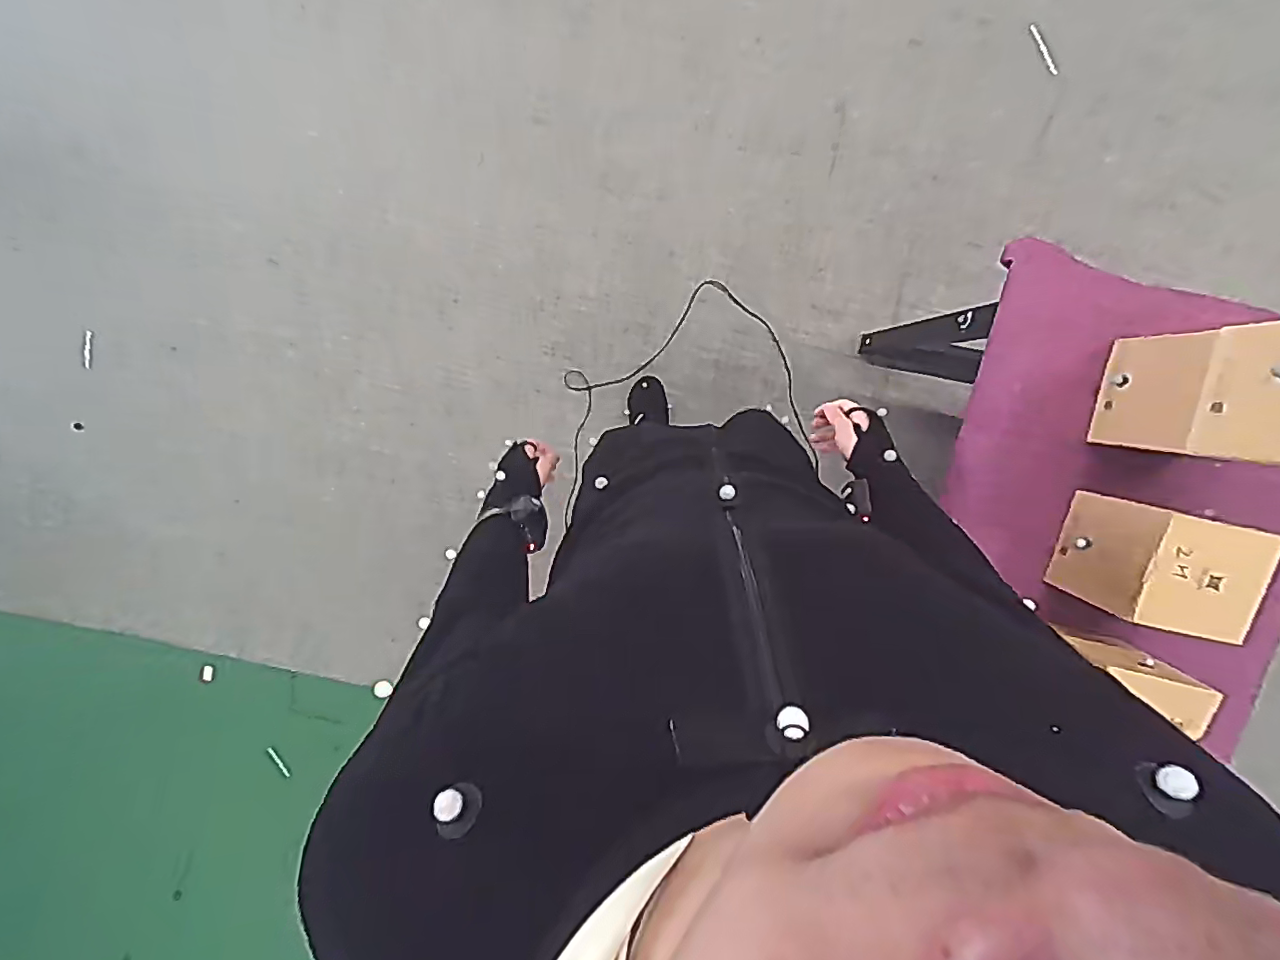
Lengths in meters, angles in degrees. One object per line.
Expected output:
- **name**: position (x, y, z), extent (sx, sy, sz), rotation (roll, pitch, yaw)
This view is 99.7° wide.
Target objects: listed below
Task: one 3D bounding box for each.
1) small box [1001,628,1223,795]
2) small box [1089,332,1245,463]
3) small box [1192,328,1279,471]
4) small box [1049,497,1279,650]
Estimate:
- **small box**: position (0.737, 0.358, 0.866), extent (0.179, 0.176, 0.168), rotation (14, 99, -1)
- **small box**: position (0.823, -0.113, 0.787), extent (0.179, 0.176, 0.168), rotation (7, 99, 0)
- **small box**: position (0.818, -0.087, 0.628), extent (0.179, 0.176, 0.168), rotation (7, 99, -2)
- **small box**: position (0.791, 0.132, 0.828), extent (0.179, 0.176, 0.168), rotation (13, 99, -2)
